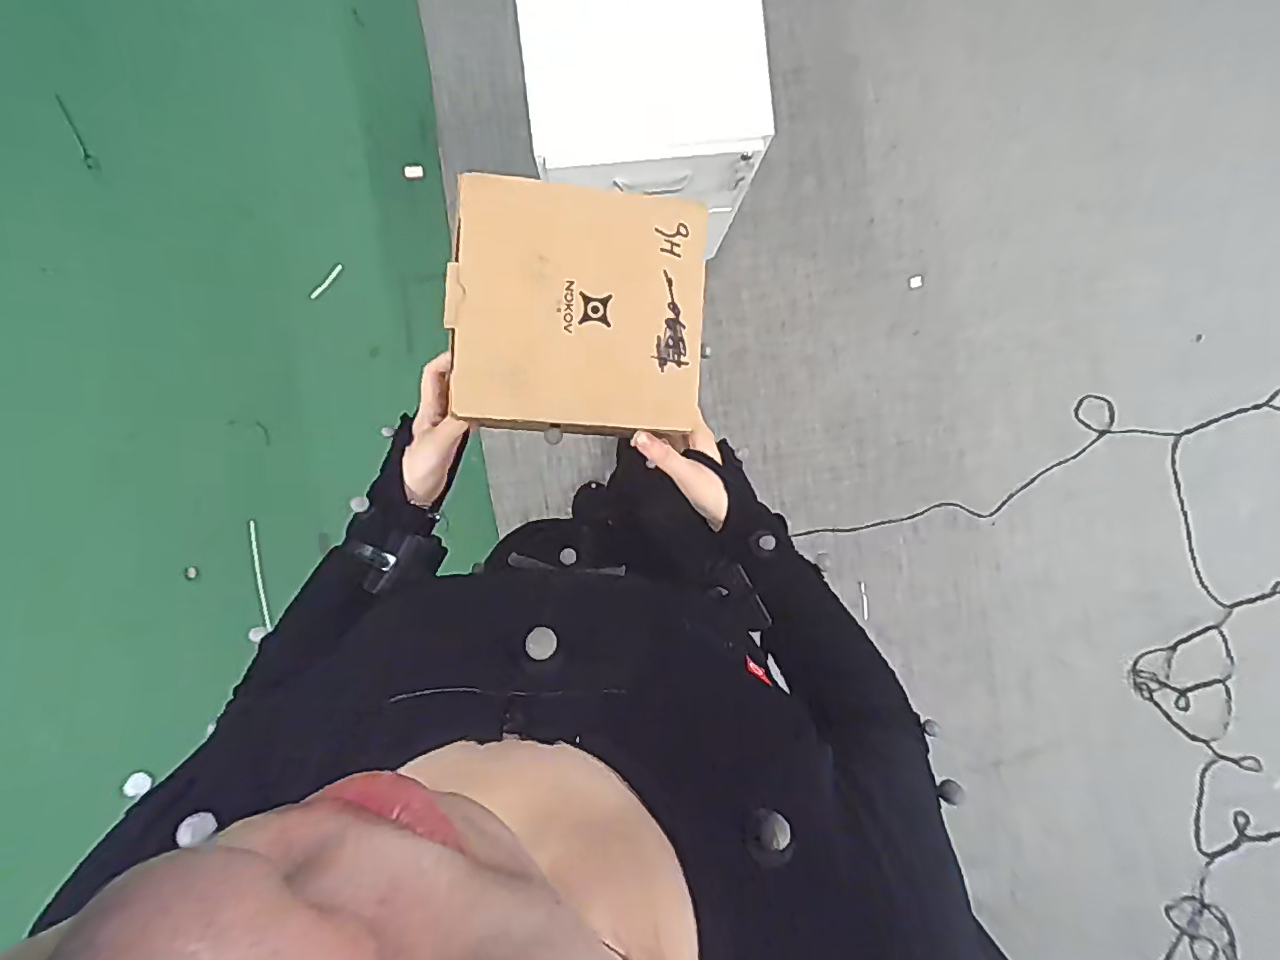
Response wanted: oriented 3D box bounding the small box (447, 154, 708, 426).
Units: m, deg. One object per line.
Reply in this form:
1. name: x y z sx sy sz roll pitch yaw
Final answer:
1. small box: -0.054 -0.137 0.460 0.179 0.176 0.168 4 91 -10
